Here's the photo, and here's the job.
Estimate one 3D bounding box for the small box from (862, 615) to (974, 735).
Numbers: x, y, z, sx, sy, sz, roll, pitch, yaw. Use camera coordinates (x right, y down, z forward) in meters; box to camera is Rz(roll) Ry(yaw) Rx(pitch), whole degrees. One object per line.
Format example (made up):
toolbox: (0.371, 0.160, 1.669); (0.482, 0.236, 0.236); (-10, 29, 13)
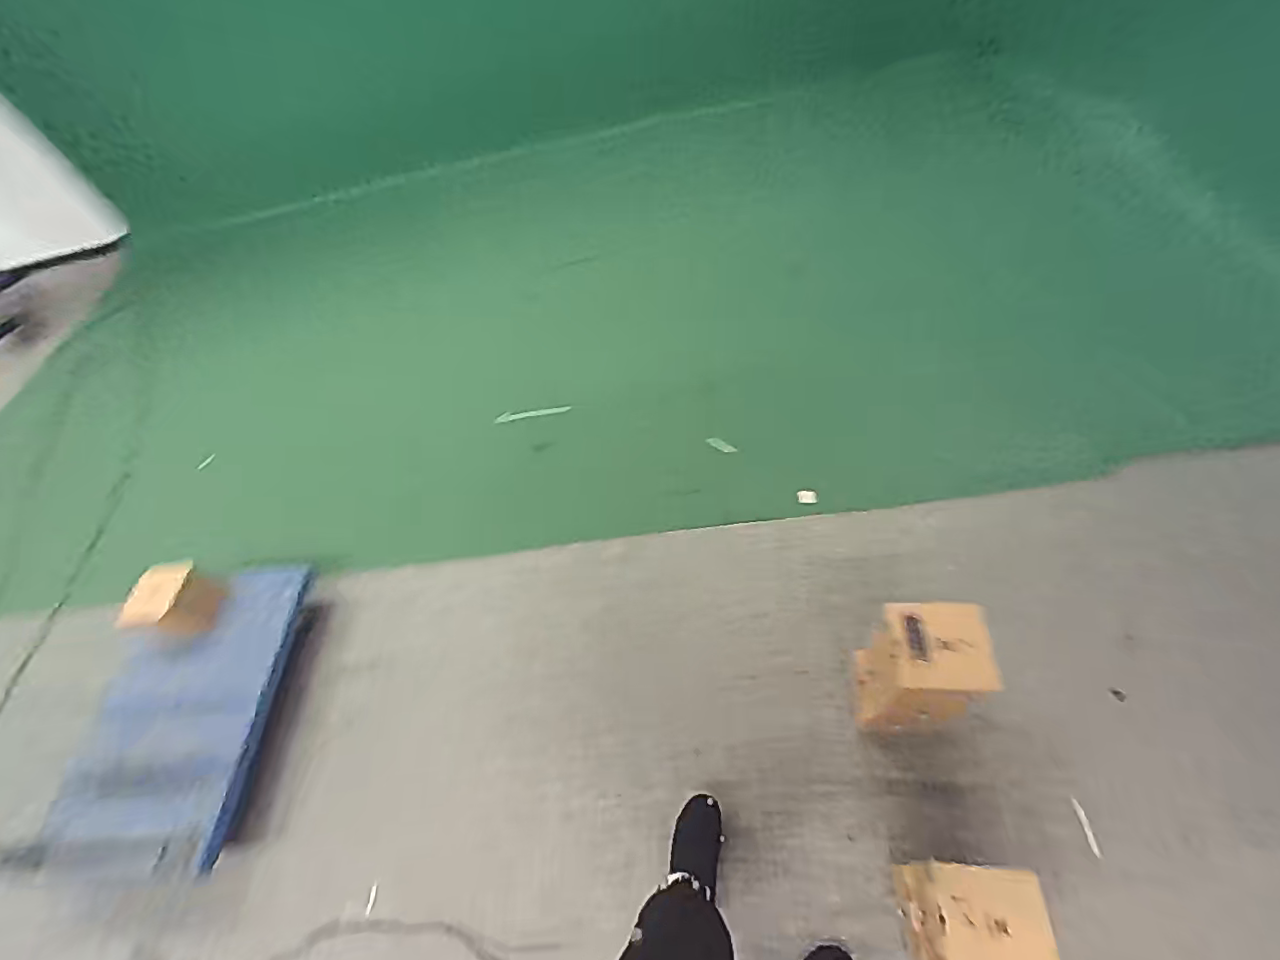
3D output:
small box: (0.626, 0.448, 1.237); (0.168, 0.176, 0.179); (26, 65, 29)

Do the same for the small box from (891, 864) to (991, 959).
small box: (0.630, 0.897, 1.114); (0.179, 0.176, 0.168); (-5, 55, 10)

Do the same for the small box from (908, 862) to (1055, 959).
small box: (0.609, 0.803, 0.979); (0.179, 0.176, 0.168); (-1, 55, 12)

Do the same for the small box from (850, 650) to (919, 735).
small box: (0.636, 0.538, 1.364); (0.179, 0.176, 0.168); (-2, 56, 11)

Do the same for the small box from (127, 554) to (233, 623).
small box: (-1.487, 0.361, 1.764); (0.168, 0.176, 0.179); (-5, 55, 9)
